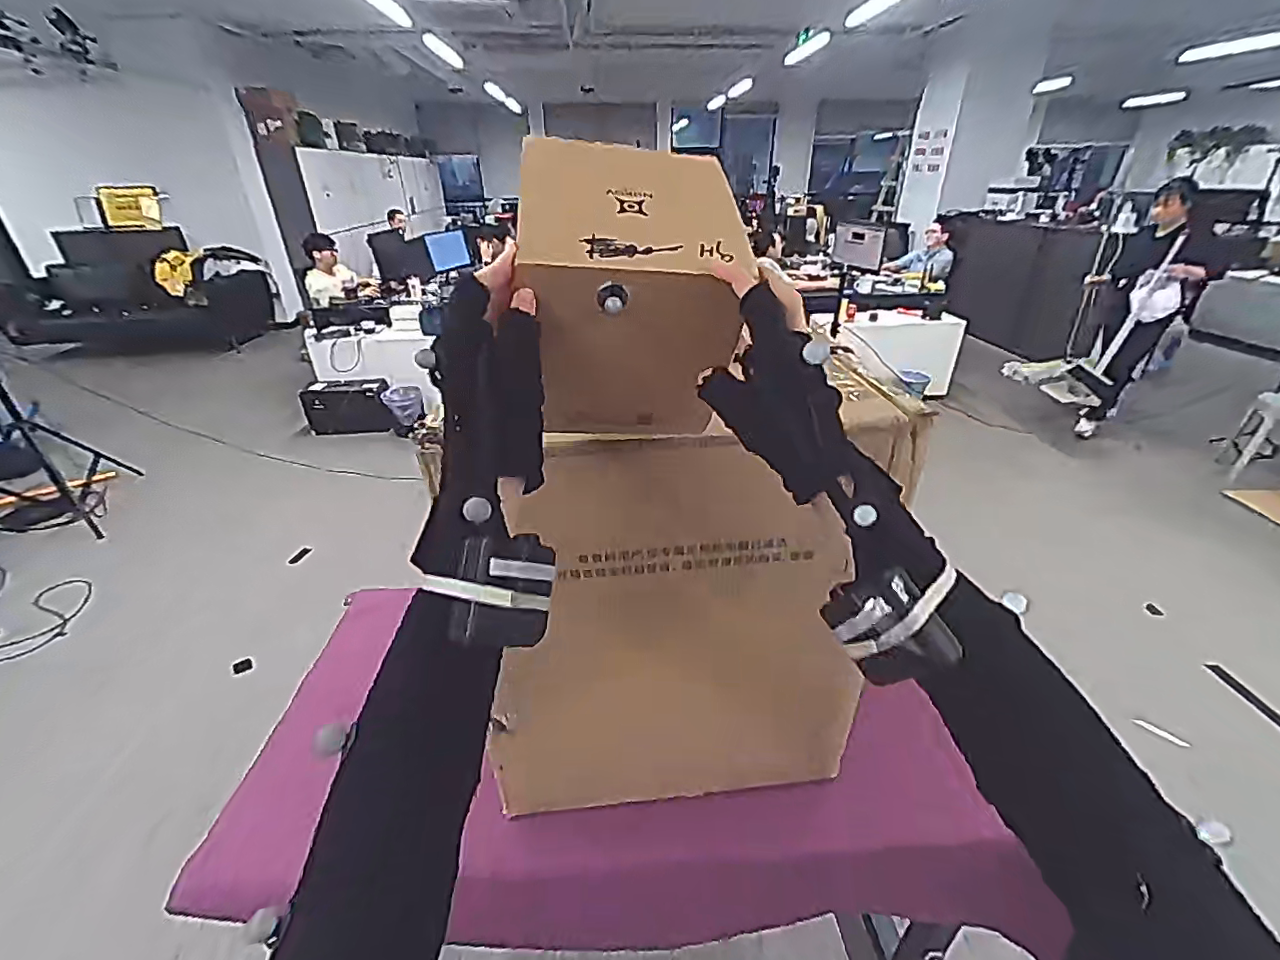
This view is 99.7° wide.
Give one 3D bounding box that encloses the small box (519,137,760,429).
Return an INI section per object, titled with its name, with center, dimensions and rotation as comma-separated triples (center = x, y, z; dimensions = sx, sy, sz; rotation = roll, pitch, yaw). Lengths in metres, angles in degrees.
[small box]
center = -0.015, -0.166, 0.470
dimensions = 0.168, 0.176, 0.179
rotation = -1, 52, -8
